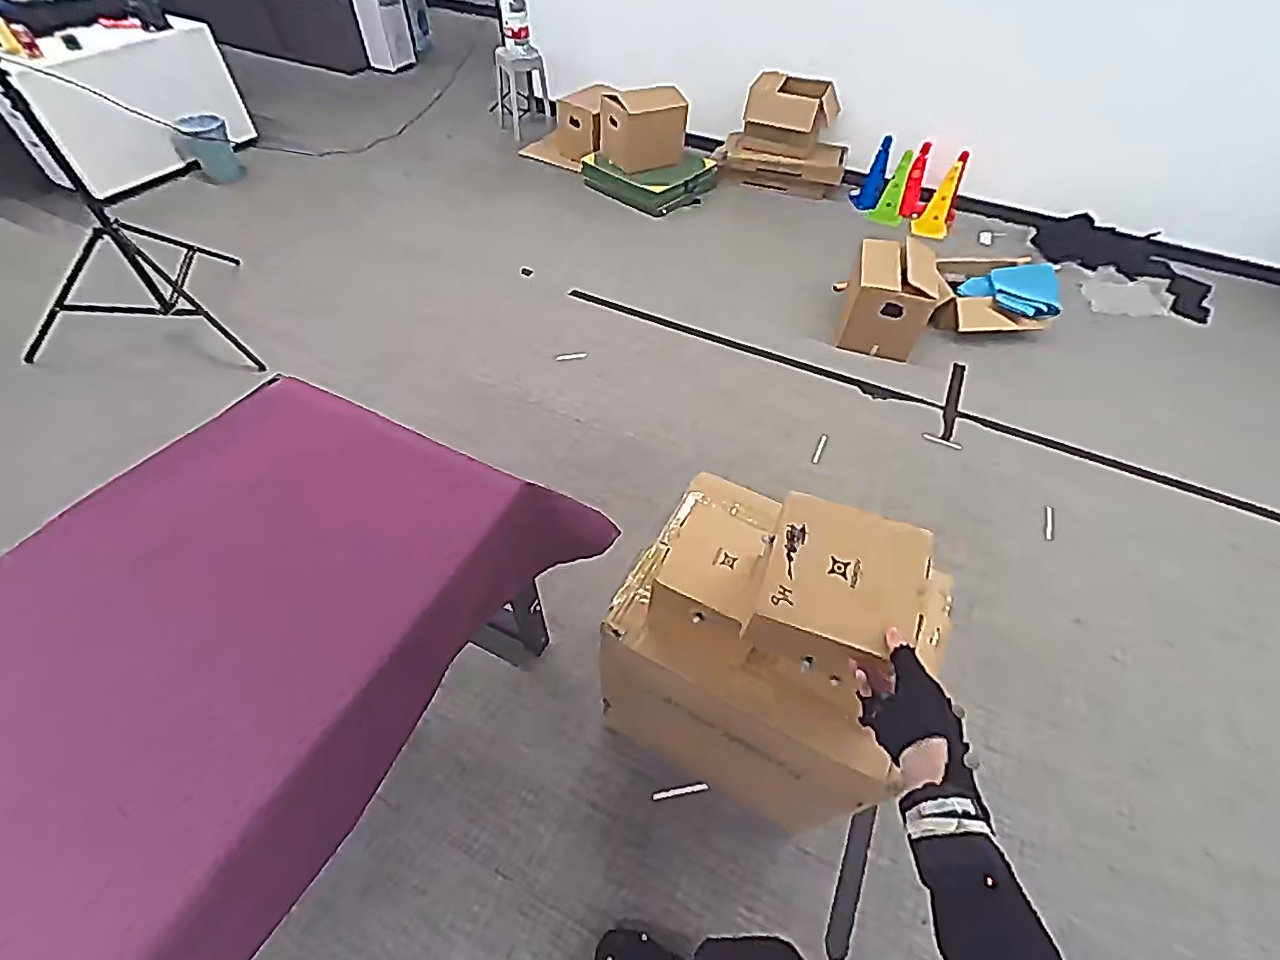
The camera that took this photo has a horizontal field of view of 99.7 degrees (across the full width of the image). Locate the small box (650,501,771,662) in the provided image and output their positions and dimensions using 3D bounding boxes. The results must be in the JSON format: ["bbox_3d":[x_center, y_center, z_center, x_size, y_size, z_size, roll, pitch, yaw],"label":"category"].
[{"bbox_3d":[0.127,0.170,0.883,0.179,0.176,0.168,24,55,13],"label":"small box"}]

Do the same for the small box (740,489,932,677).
[{"bbox_3d":[0.241,0.140,0.695,0.179,0.176,0.168,18,64,12],"label":"small box"}]

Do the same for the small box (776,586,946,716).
[{"bbox_3d":[0.332,0.239,0.836,0.179,0.176,0.168,25,55,18],"label":"small box"}]
